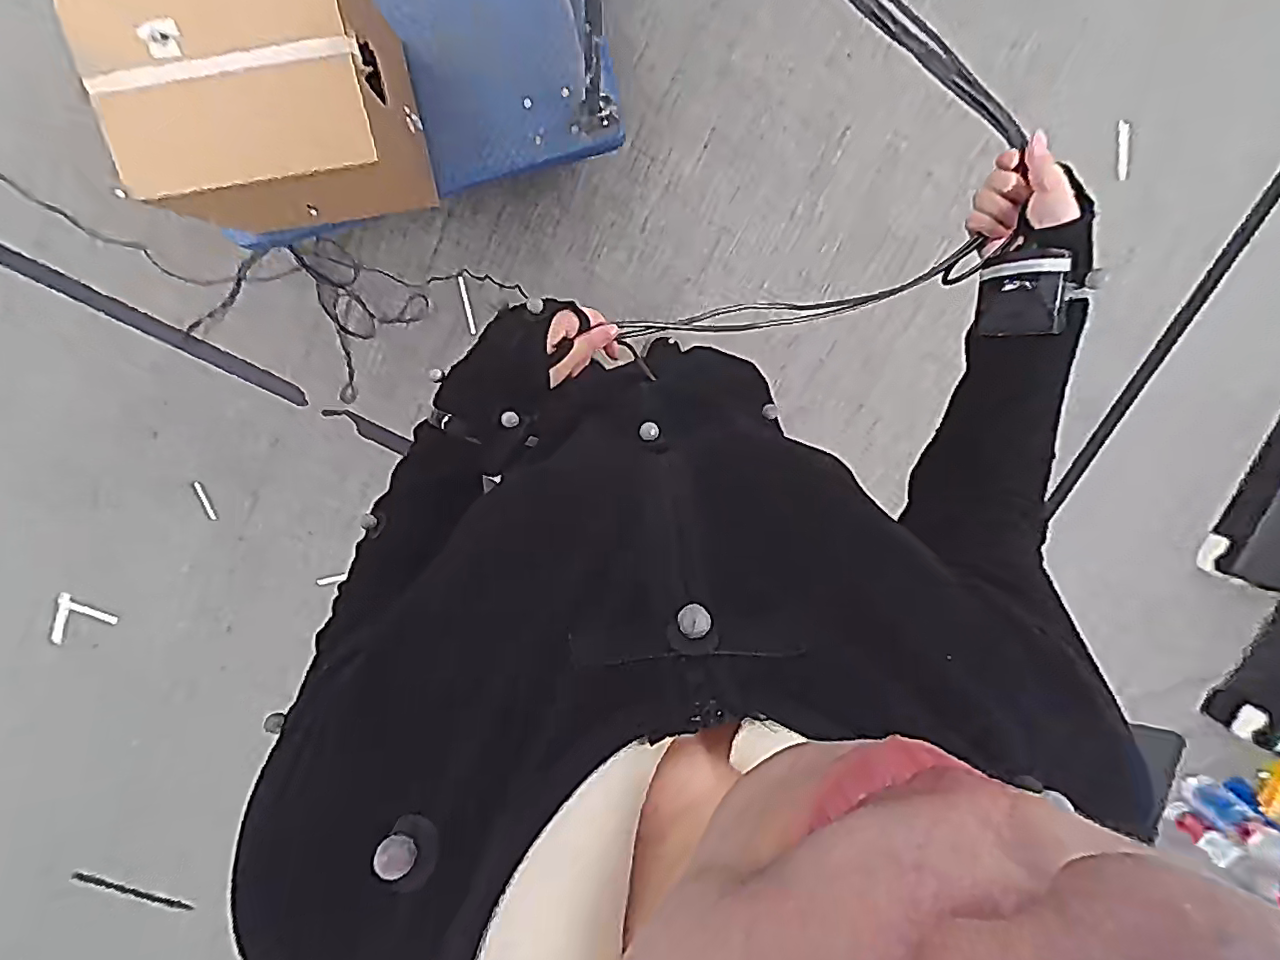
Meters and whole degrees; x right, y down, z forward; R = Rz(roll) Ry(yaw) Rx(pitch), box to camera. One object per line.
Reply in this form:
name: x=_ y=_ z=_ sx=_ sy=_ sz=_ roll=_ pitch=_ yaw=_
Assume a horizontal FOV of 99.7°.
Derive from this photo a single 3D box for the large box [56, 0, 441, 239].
large box: x=-0.631 y=-0.645 z=0.957 sx=0.408 sy=0.320 sz=0.320 roll=-10 pitch=105 yaw=1
